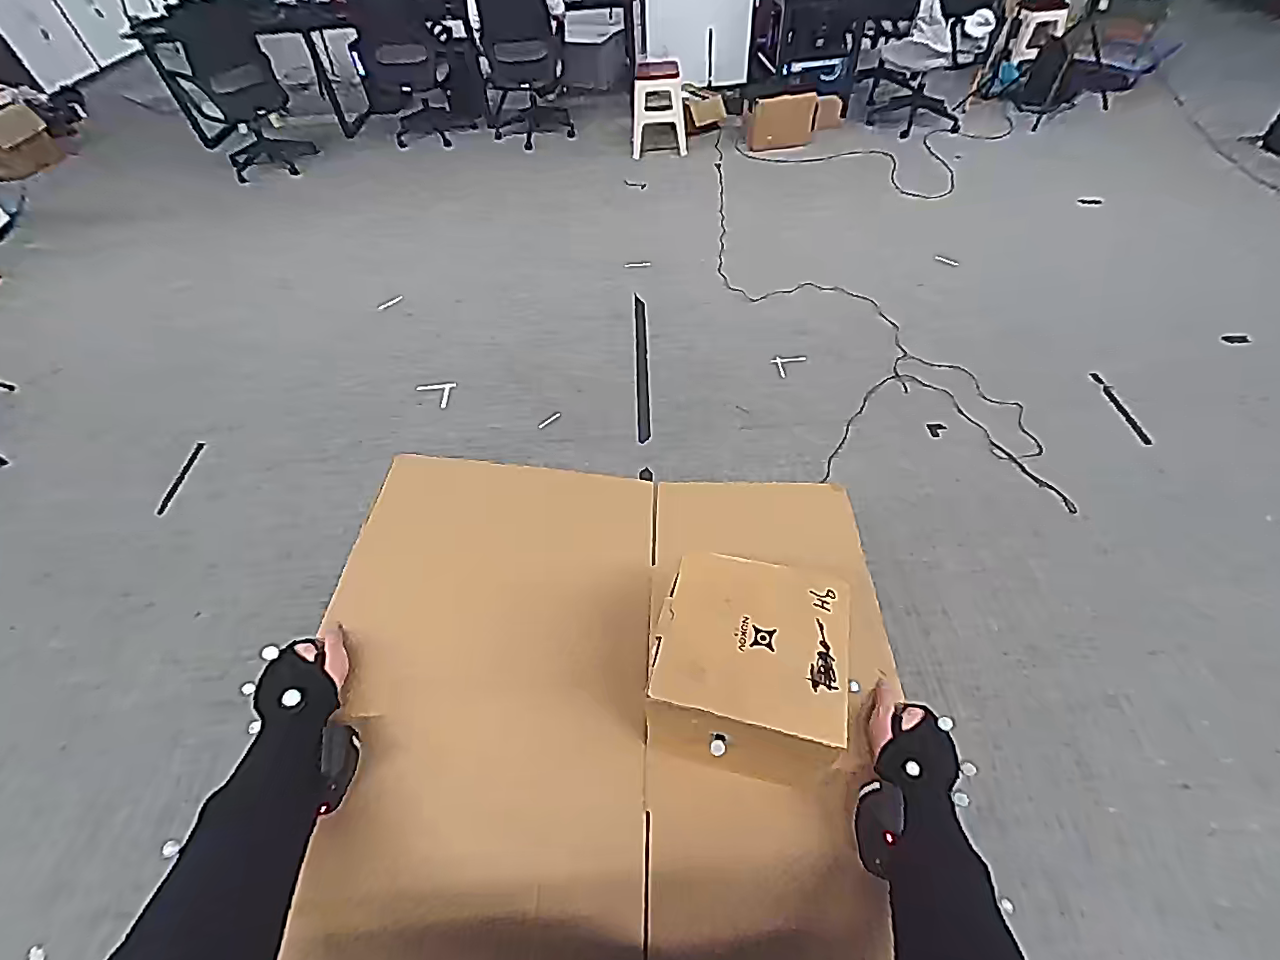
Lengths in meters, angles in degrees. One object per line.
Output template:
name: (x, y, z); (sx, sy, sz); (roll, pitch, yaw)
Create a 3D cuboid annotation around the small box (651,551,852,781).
small box: (0.119, 0.203, 0.585); (0.179, 0.176, 0.168); (9, 50, 13)
